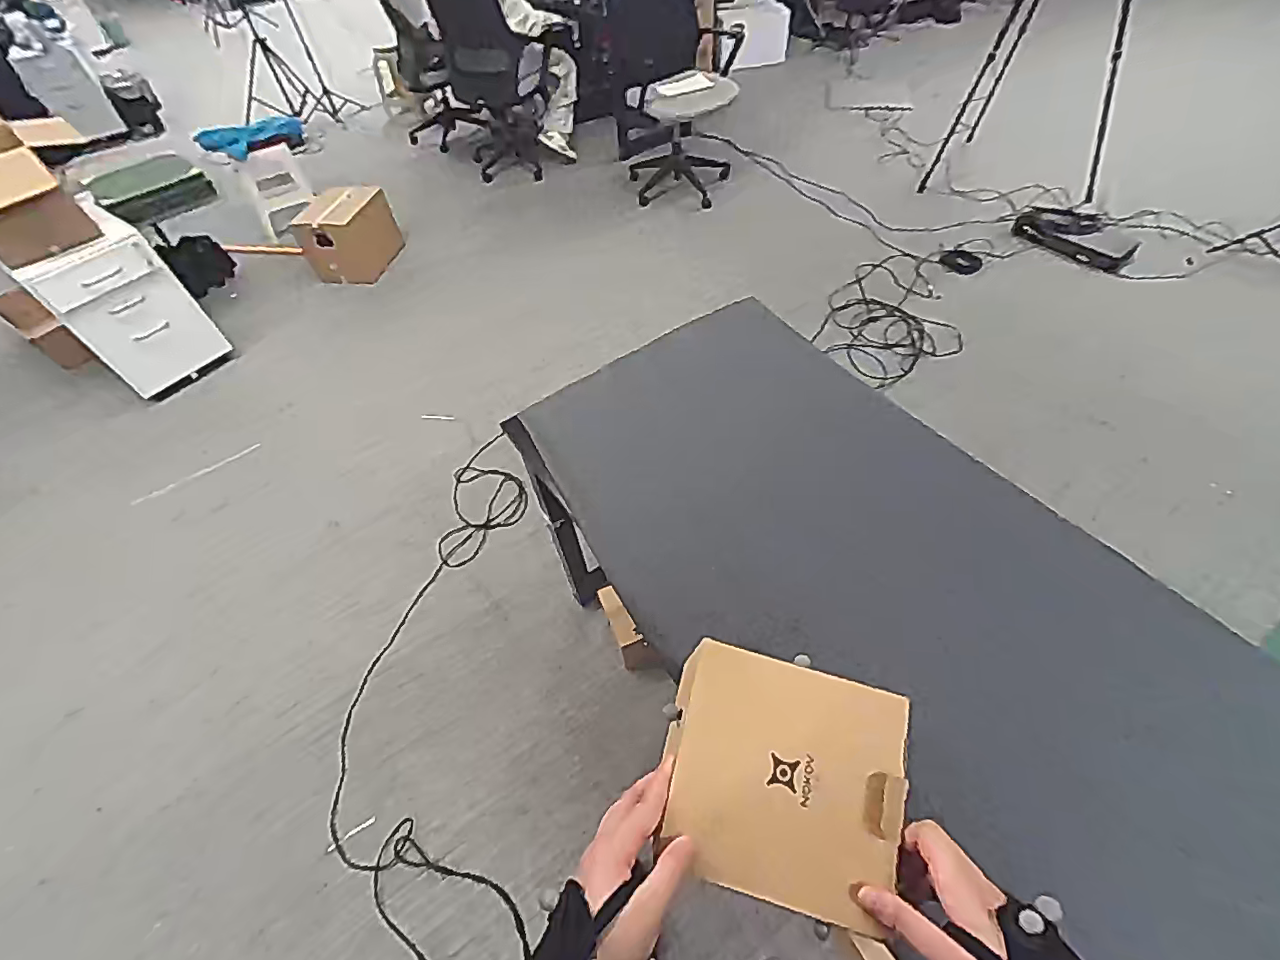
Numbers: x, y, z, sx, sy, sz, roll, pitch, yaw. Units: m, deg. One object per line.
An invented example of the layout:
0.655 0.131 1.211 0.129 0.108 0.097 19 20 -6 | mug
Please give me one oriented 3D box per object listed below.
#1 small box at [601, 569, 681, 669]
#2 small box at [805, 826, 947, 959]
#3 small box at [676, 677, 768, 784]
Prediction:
0.004 0.381 1.476 0.168 0.176 0.179 -21 52 -11 | small box
0.452 0.829 1.070 0.168 0.176 0.179 -27 55 -14 | small box
0.190 0.600 1.282 0.168 0.176 0.179 -14 50 -6 | small box
